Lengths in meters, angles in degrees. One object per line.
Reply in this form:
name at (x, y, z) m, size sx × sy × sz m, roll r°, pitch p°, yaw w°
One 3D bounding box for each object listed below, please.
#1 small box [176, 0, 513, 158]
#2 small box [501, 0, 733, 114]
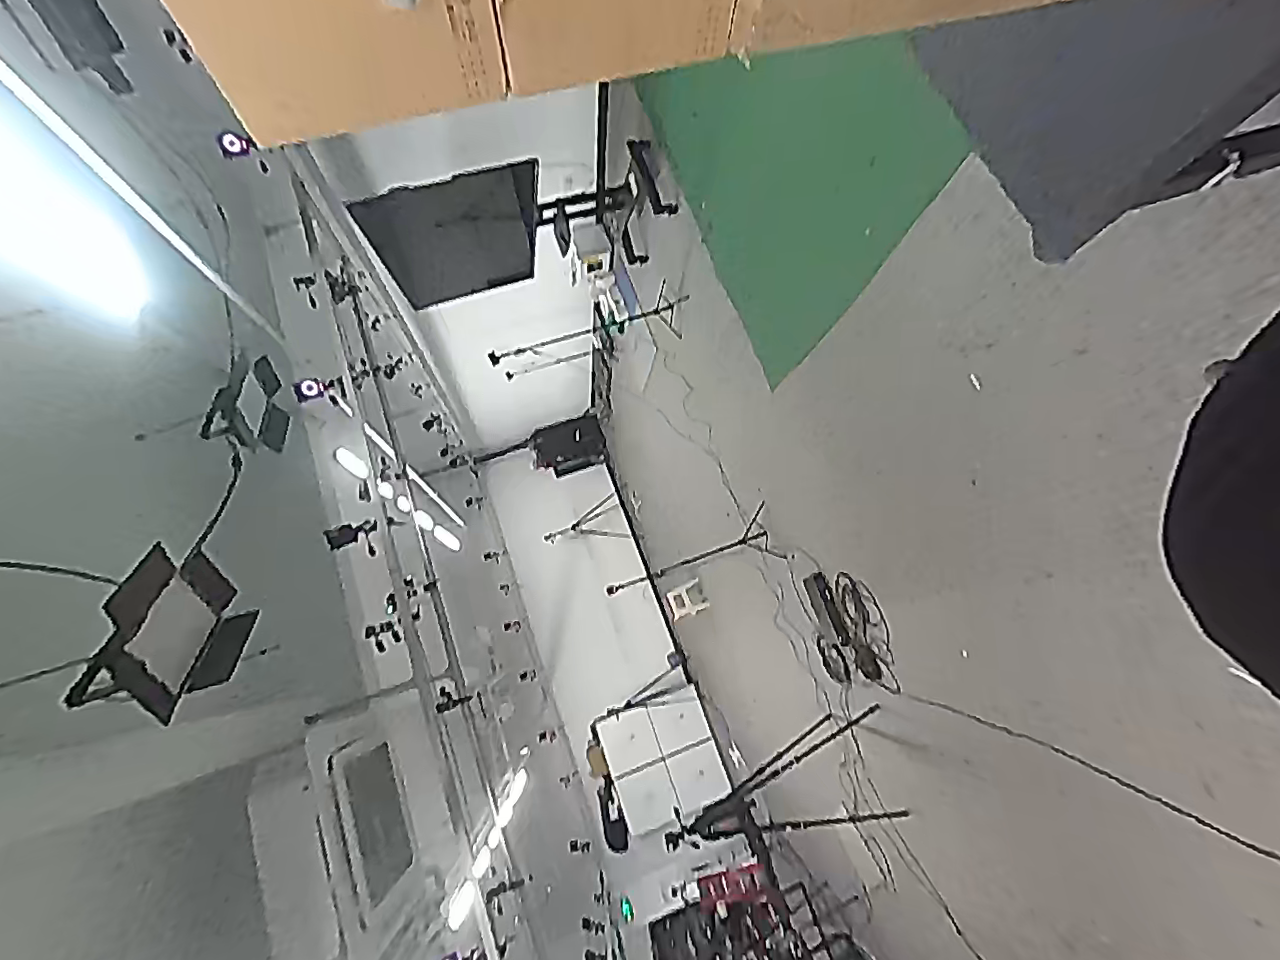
small box at (-0.187, -0.338, 0.322) m, size 0.168 × 0.176 × 0.179 m, roll 97°, pitch 152°, yaw -70°
small box at (-0.033, -0.389, 0.351) m, size 0.168 × 0.176 × 0.179 m, roll 97°, pitch 152°, yaw -69°
